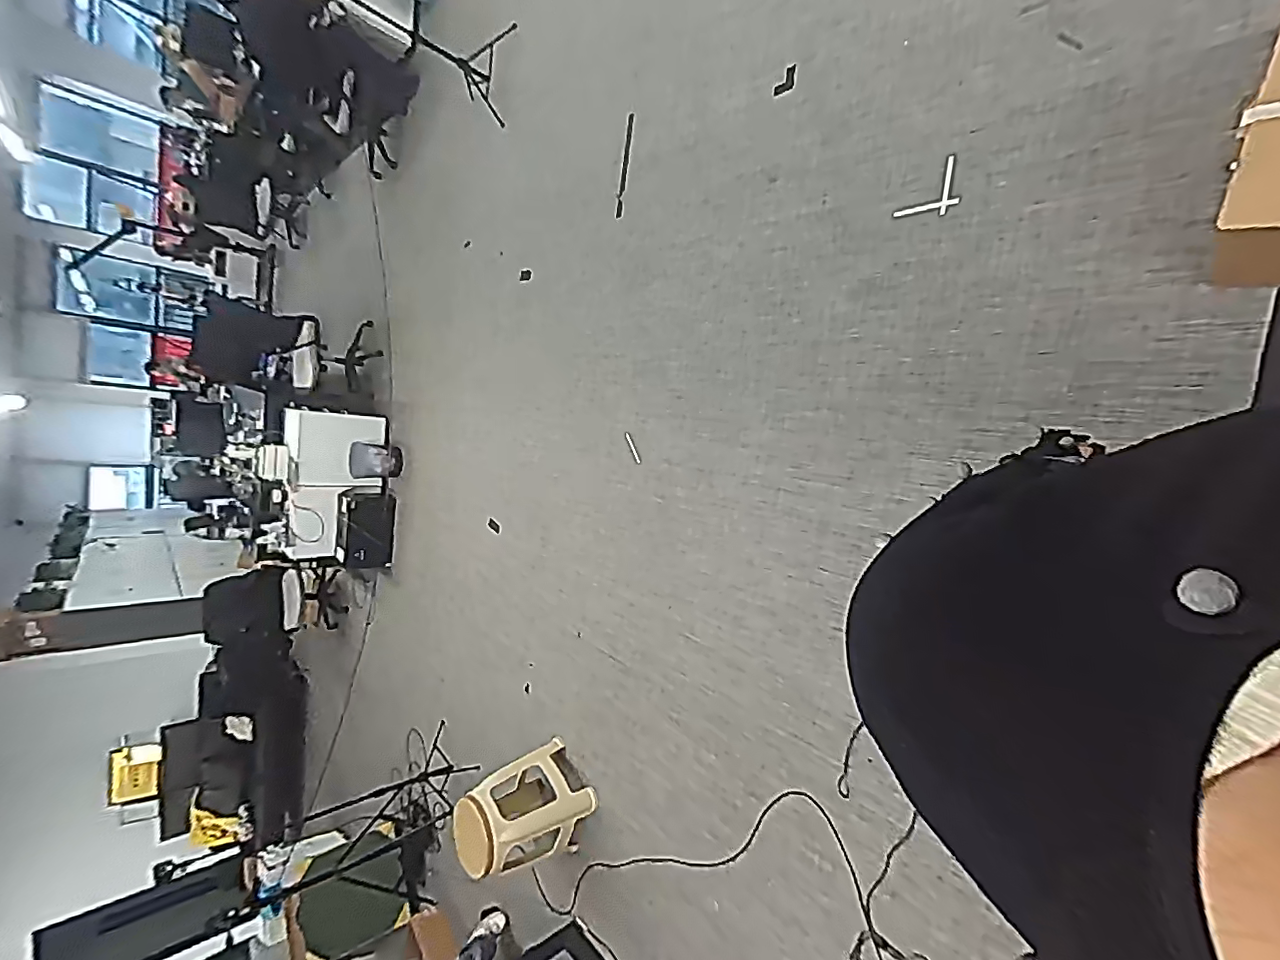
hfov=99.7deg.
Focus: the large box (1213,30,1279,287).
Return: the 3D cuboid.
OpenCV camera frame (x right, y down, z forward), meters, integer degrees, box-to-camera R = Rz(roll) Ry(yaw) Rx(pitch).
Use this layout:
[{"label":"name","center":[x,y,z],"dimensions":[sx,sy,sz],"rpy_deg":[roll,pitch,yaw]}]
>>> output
[{"label":"large box","center":[1.100,-0.461,0.725],"dimensions":[0.408,0.320,0.320],"rpy_deg":[19,103,44]}]
